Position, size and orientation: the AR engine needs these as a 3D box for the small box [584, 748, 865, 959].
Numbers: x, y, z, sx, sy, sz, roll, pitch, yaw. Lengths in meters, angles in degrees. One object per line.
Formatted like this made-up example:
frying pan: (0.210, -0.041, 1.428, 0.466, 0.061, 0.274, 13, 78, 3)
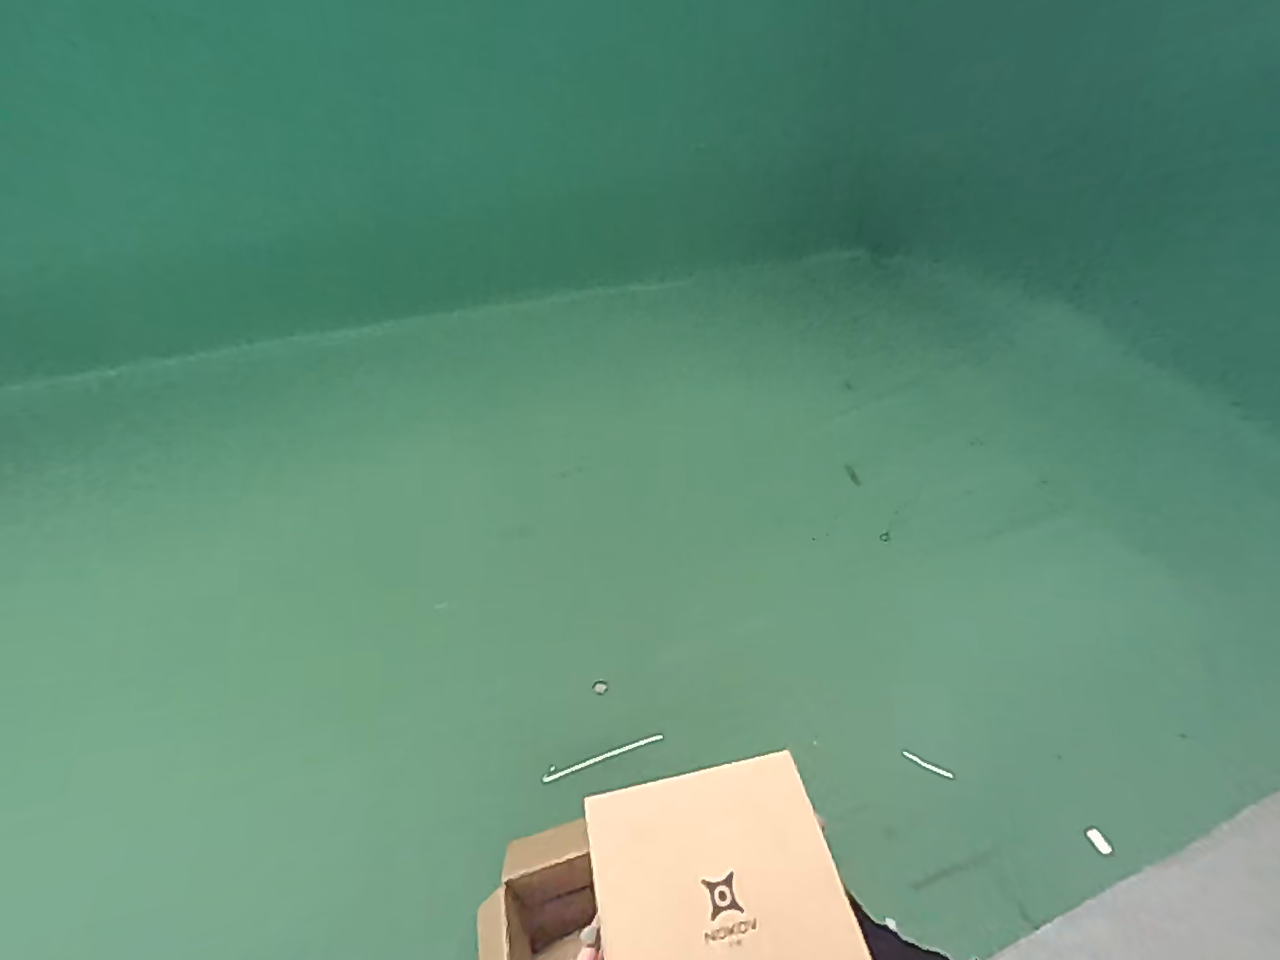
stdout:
small box: (0.053, 0.340, 0.412, 0.168, 0.176, 0.179, -9, 44, -7)
